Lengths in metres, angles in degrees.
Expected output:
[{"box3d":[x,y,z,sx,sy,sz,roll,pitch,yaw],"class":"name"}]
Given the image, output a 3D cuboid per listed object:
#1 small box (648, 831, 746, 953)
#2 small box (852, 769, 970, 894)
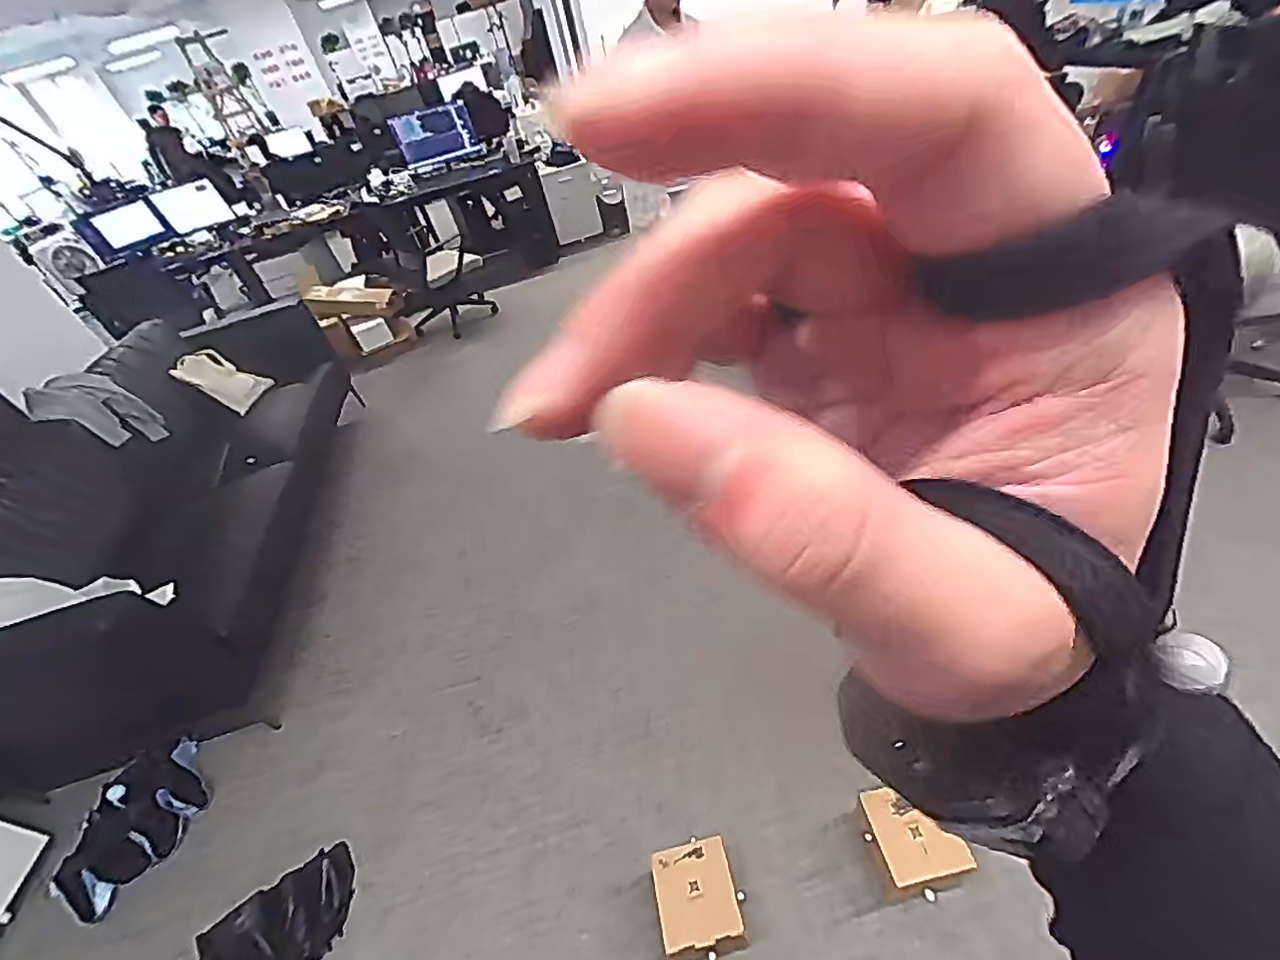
[{"box3d":[0.128,0.914,1.195,0.168,0.176,0.179,-16,42,1],"class":"small box"},{"box3d":[0.584,0.776,1.194,0.168,0.176,0.179,-16,43,2],"class":"small box"}]
